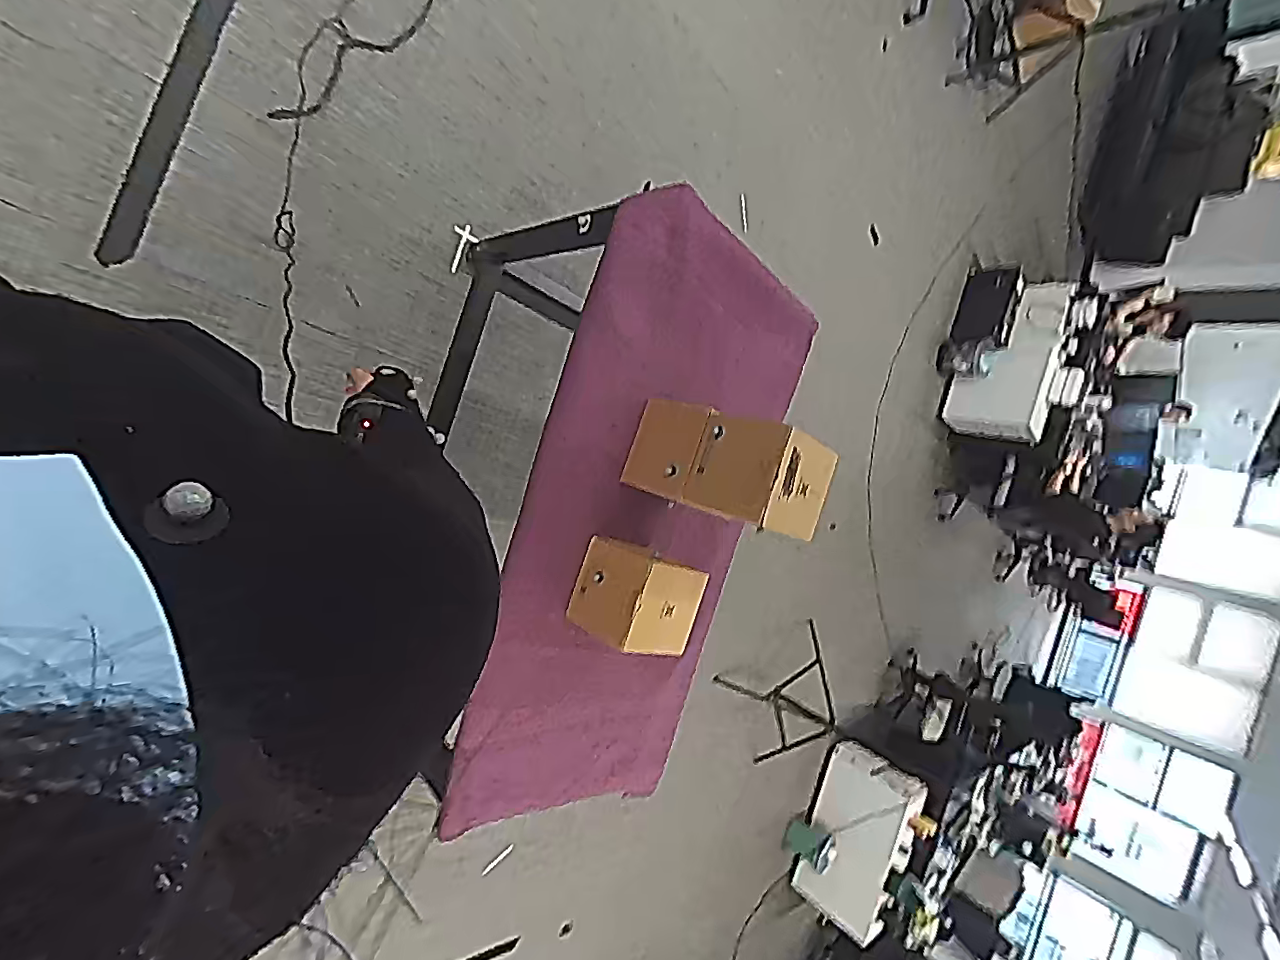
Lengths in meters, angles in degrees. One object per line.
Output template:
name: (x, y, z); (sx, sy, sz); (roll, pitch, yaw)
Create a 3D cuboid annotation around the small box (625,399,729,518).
small box: (0.096, -0.045, 1.061); (0.168, 0.176, 0.179); (21, 87, -45)

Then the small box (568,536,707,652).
small box: (-0.006, 0.218, 1.044); (0.179, 0.176, 0.168); (21, 88, -45)

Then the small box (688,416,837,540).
small box: (0.211, -0.008, 0.950); (0.179, 0.176, 0.168); (19, 90, -45)
